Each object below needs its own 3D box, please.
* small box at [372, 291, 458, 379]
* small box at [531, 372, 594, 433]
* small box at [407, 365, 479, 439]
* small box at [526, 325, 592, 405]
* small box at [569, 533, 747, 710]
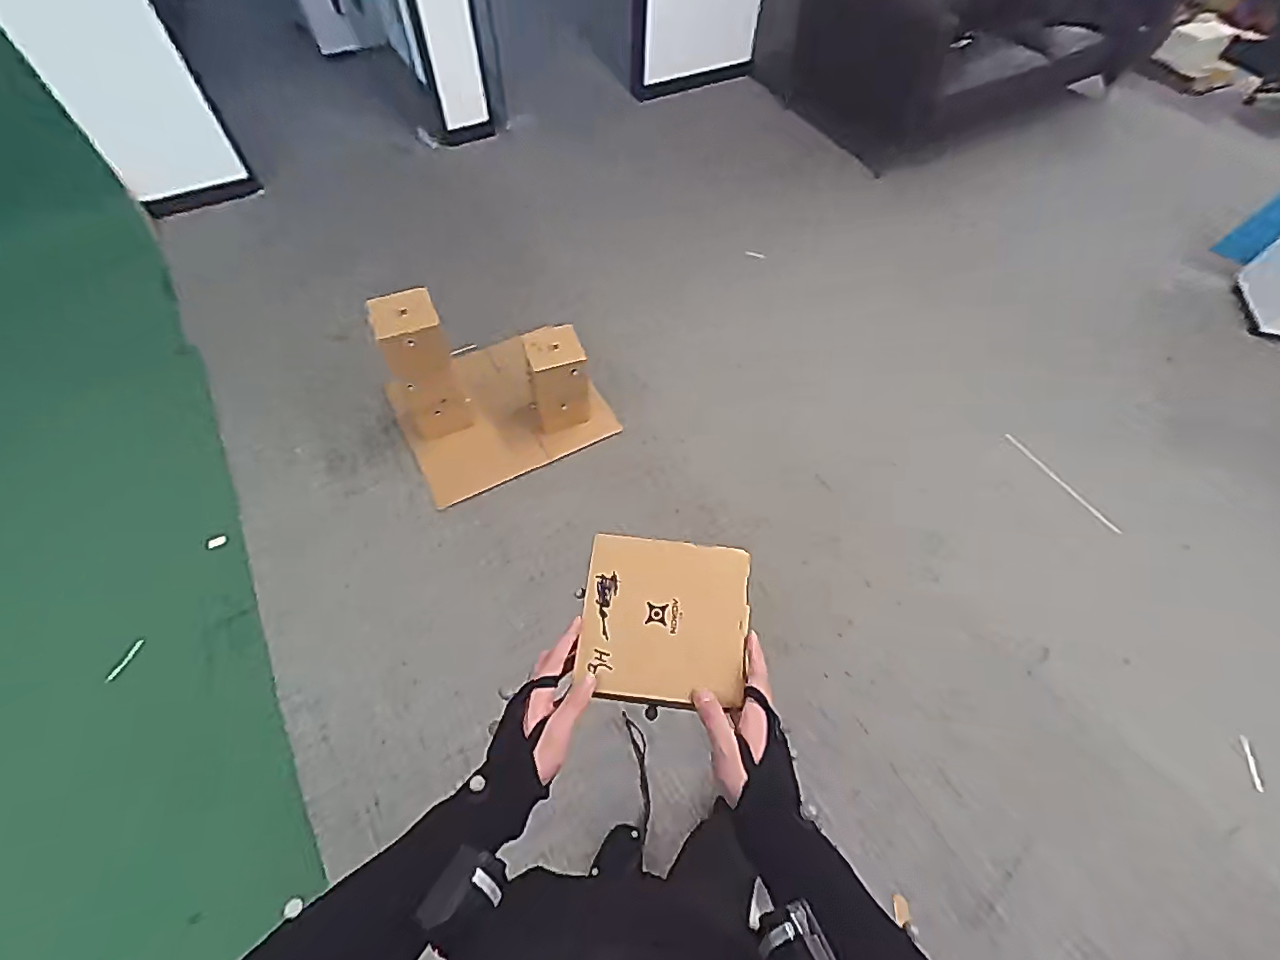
[{"bbox_3d":[-0.663,-0.425,1.604,0.179,0.176,0.168,-19,62,-14],"label":"small box"},{"bbox_3d":[-0.272,-0.297,1.927,0.179,0.176,0.168,-21,62,-13],"label":"small box"},{"bbox_3d":[-0.685,-0.268,1.890,0.179,0.176,0.168,-21,62,-15],"label":"small box"},{"bbox_3d":[-0.263,-0.376,1.781,0.179,0.176,0.168,-17,61,-11],"label":"small box"},{"bbox_3d":[0.021,0.175,0.646,0.179,0.176,0.168,7,66,2],"label":"small box"}]
